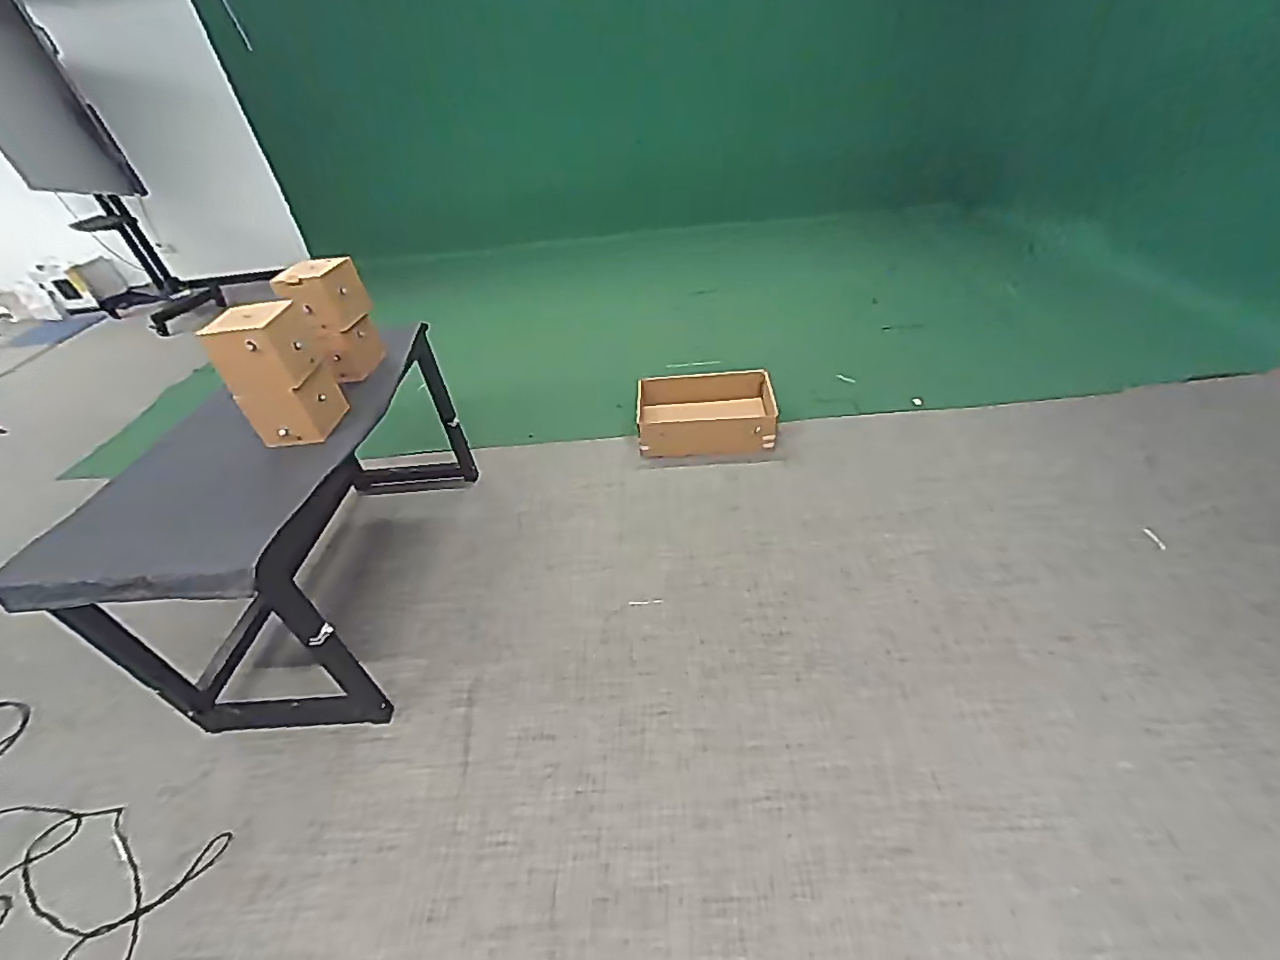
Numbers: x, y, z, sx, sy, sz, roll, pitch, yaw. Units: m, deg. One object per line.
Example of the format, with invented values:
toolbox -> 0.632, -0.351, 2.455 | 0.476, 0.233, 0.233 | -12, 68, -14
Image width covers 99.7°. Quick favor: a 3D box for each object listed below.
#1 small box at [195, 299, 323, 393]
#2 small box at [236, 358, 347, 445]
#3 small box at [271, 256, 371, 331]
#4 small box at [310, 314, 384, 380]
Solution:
small box -> -0.952, -0.339, 1.375 | 0.179, 0.176, 0.168 | -6, 40, 4
small box -> -0.941, -0.215, 1.484 | 0.168, 0.176, 0.179 | -5, 41, 5
small box -> -0.960, -0.565, 1.648 | 0.168, 0.176, 0.179 | 0, 41, 9
small box -> -0.960, -0.431, 1.745 | 0.168, 0.176, 0.179 | -2, 39, 6
